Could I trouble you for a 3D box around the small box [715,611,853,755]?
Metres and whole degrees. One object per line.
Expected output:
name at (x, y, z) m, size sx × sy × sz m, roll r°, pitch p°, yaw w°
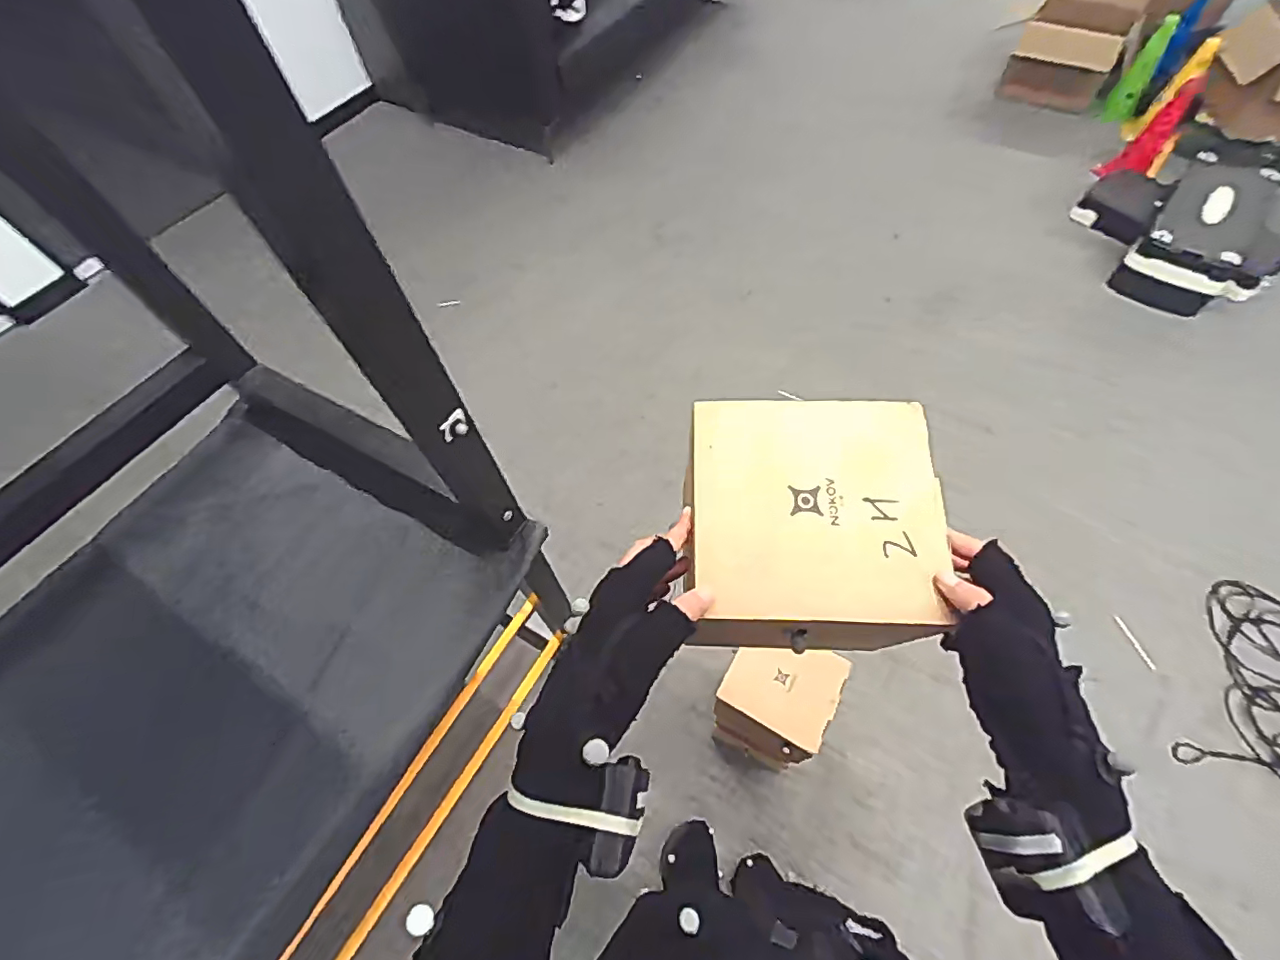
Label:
small box at (0.244, 0.366, 0.958) m, size 0.179 × 0.176 × 0.168 m, roll 26°, pitch 65°, yaw 19°
